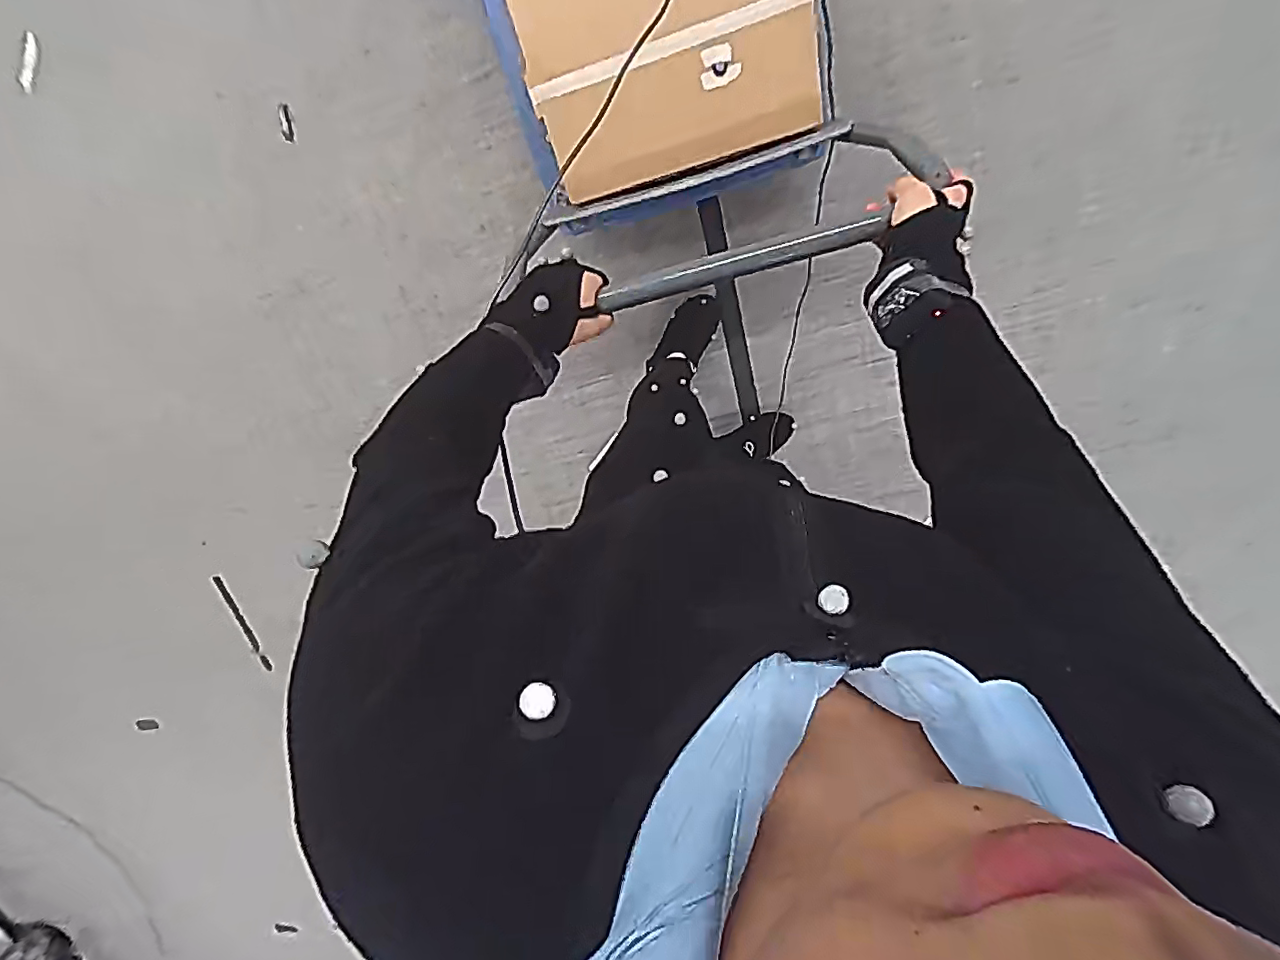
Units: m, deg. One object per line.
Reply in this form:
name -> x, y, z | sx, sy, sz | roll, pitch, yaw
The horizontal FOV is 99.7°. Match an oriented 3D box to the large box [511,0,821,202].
large box -> 0.046, -0.700, 0.902 | 0.408, 0.320, 0.320 | -13, 120, 10
